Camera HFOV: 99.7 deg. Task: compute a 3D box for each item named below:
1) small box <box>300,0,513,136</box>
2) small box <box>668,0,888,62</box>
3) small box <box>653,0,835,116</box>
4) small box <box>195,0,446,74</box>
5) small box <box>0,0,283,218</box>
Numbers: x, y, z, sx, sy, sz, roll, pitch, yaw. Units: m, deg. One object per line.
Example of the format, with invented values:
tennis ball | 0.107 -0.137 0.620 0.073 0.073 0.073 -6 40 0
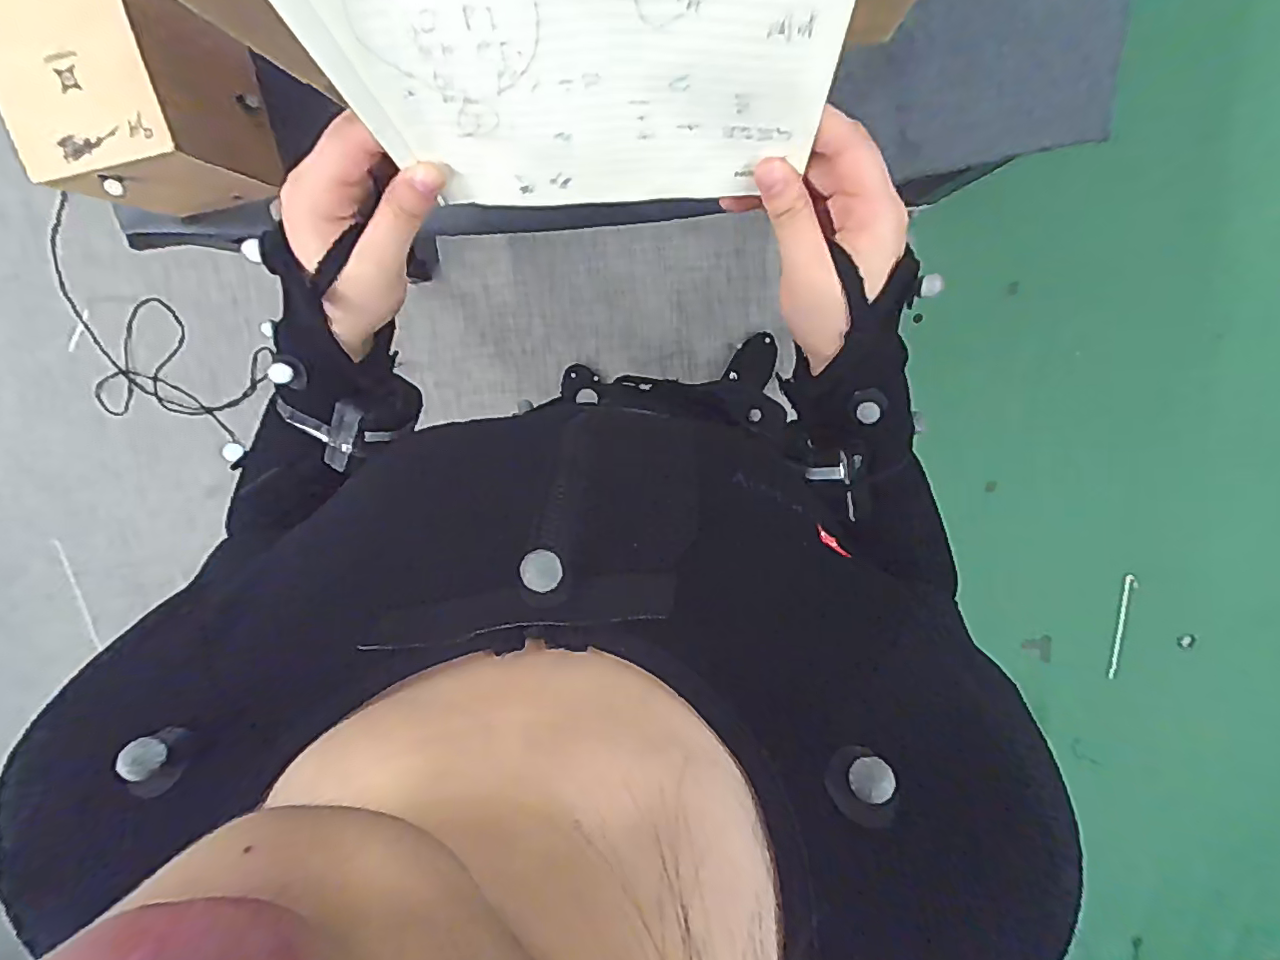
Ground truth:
small box | -0.259 -0.496 0.557 0.179 0.176 0.168 -20 103 9
small box | 0.102 -0.429 0.372 0.179 0.176 0.168 -4 104 7
small box | 0.112 -0.494 0.522 0.168 0.176 0.179 12 106 2
small box | -0.272 -0.450 0.399 0.179 0.176 0.168 -17 103 9
small box | -0.548 -0.415 0.600 0.168 0.176 0.179 -8 104 7
